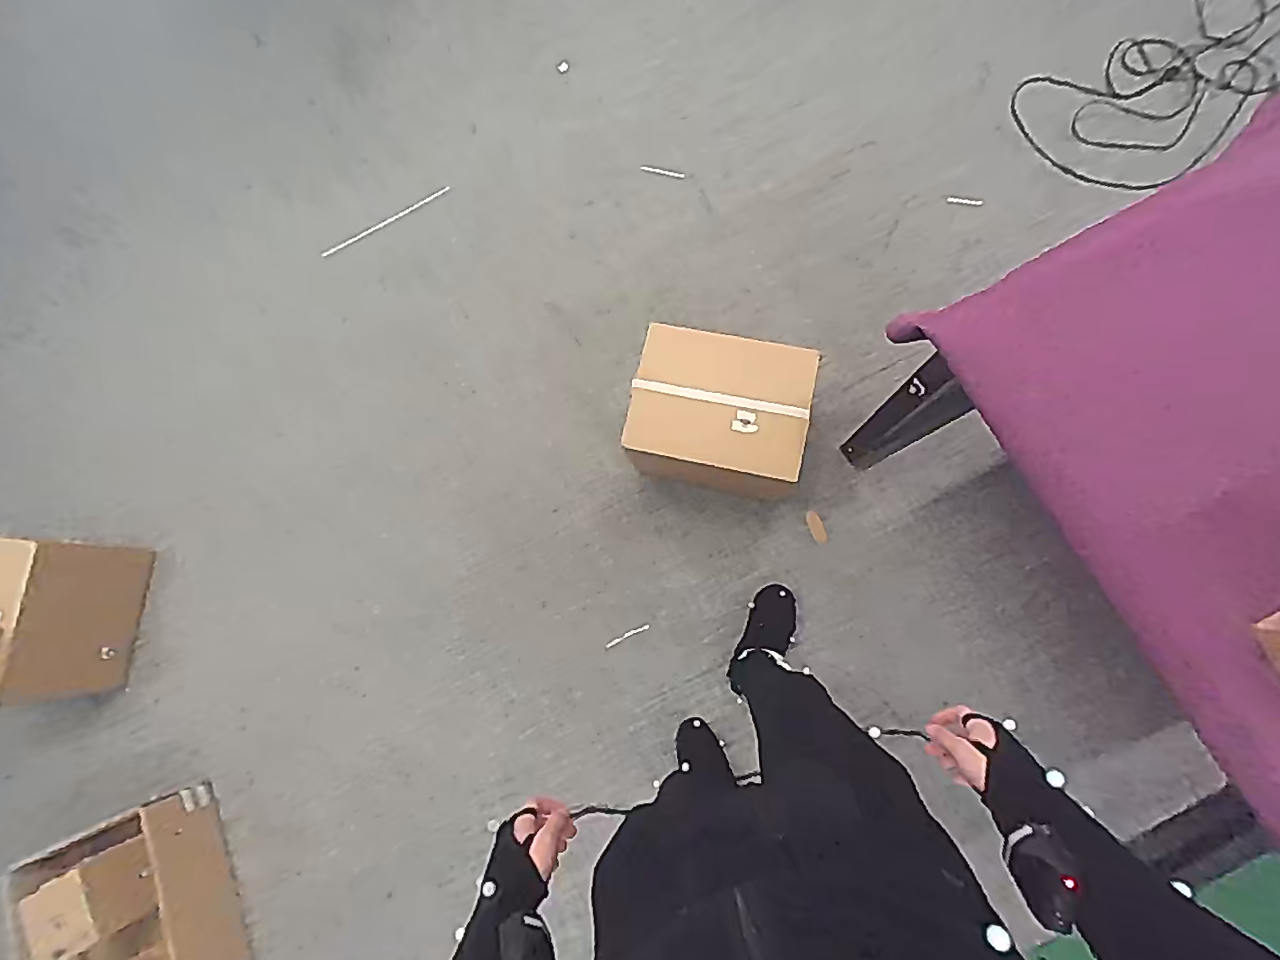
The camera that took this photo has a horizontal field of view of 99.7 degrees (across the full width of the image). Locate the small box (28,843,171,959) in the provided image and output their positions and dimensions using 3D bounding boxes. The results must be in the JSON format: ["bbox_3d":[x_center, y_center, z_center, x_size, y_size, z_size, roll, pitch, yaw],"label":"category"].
[{"bbox_3d":[-1.328,1.042,1.339,0.168,0.176,0.179,-30,77,0],"label":"small box"}]

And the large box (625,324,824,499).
[{"bbox_3d":[0.203,-0.156,1.358,0.408,0.320,0.320,12,82,8],"label":"large box"}]
